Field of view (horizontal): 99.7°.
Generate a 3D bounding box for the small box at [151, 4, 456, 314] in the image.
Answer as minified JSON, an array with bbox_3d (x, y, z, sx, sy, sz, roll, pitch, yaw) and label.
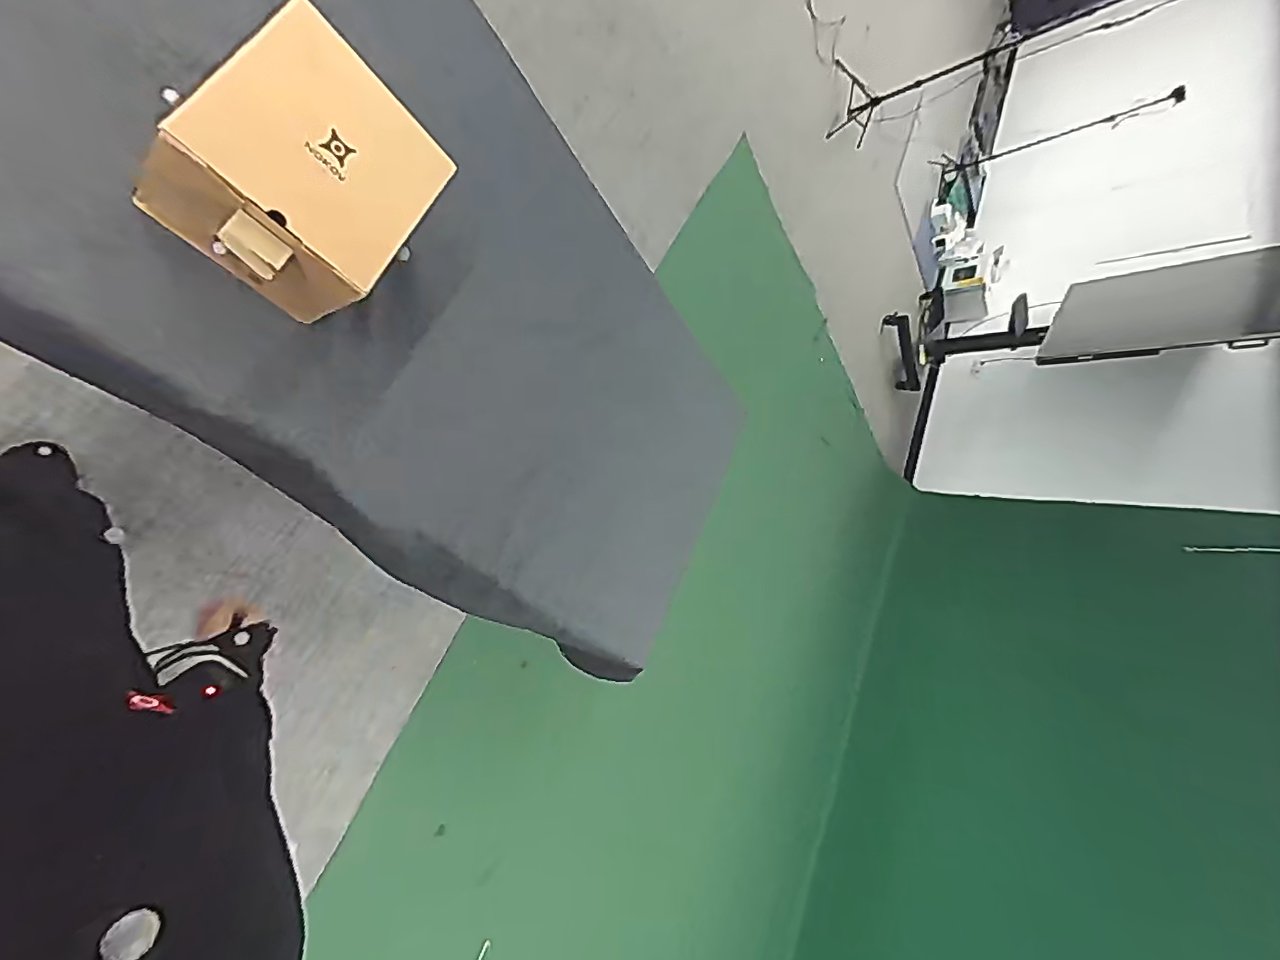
[{"bbox_3d":[-0.323,-0.288,0.524,0.168,0.176,0.179,42,63,-42],"label":"small box"}]
